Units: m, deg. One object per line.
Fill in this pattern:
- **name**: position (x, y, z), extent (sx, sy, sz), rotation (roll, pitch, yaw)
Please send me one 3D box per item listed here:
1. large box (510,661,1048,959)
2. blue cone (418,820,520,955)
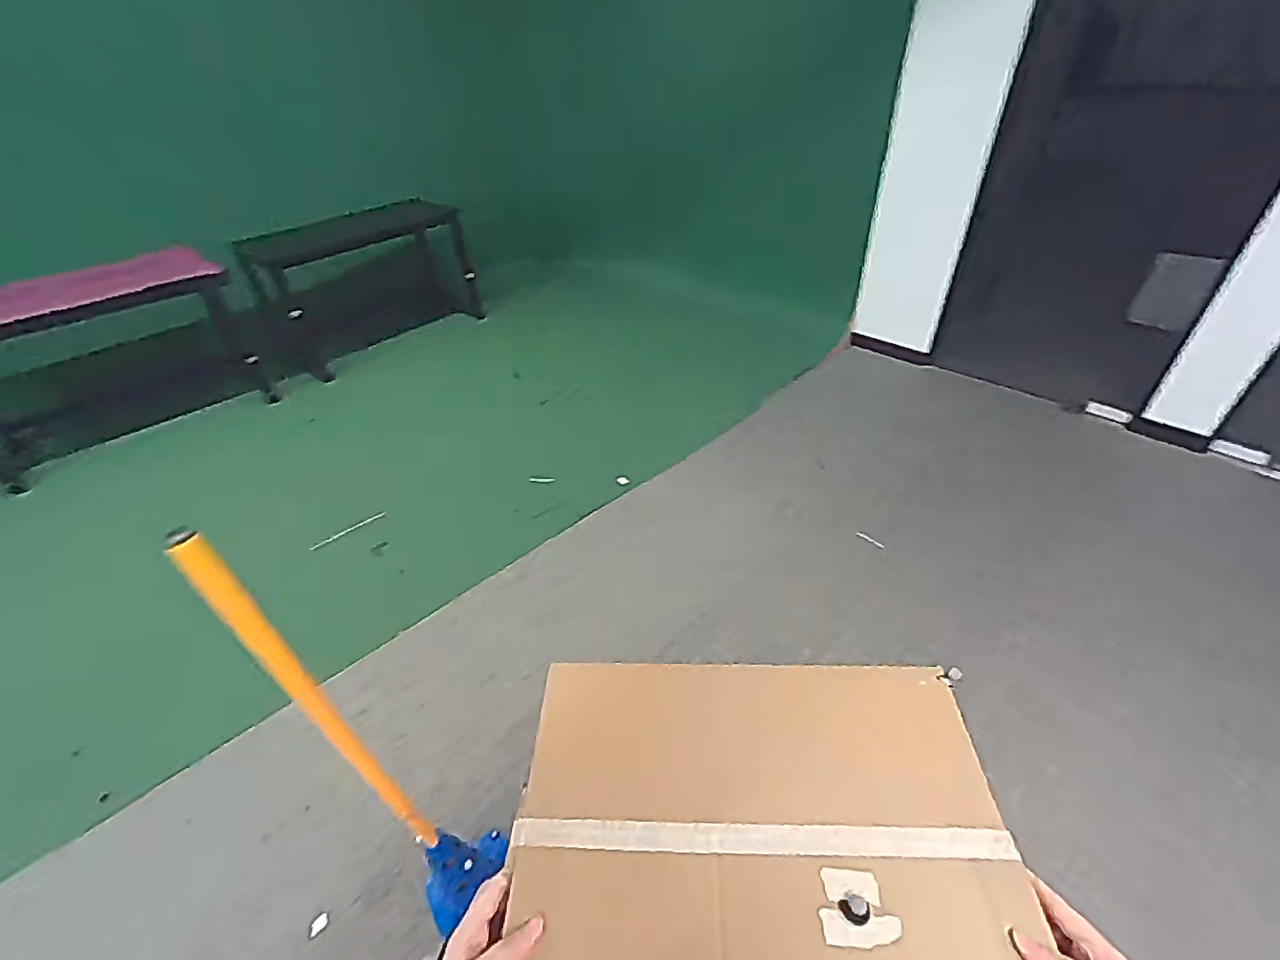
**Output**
- **large box**: position (0.107, 0.408, 0.559), extent (0.408, 0.320, 0.320), rotation (1, 43, 3)
- **blue cone**: position (-0.401, 0.836, 1.165), extent (0.193, 0.380, 0.192), rotation (-25, 43, -24)
